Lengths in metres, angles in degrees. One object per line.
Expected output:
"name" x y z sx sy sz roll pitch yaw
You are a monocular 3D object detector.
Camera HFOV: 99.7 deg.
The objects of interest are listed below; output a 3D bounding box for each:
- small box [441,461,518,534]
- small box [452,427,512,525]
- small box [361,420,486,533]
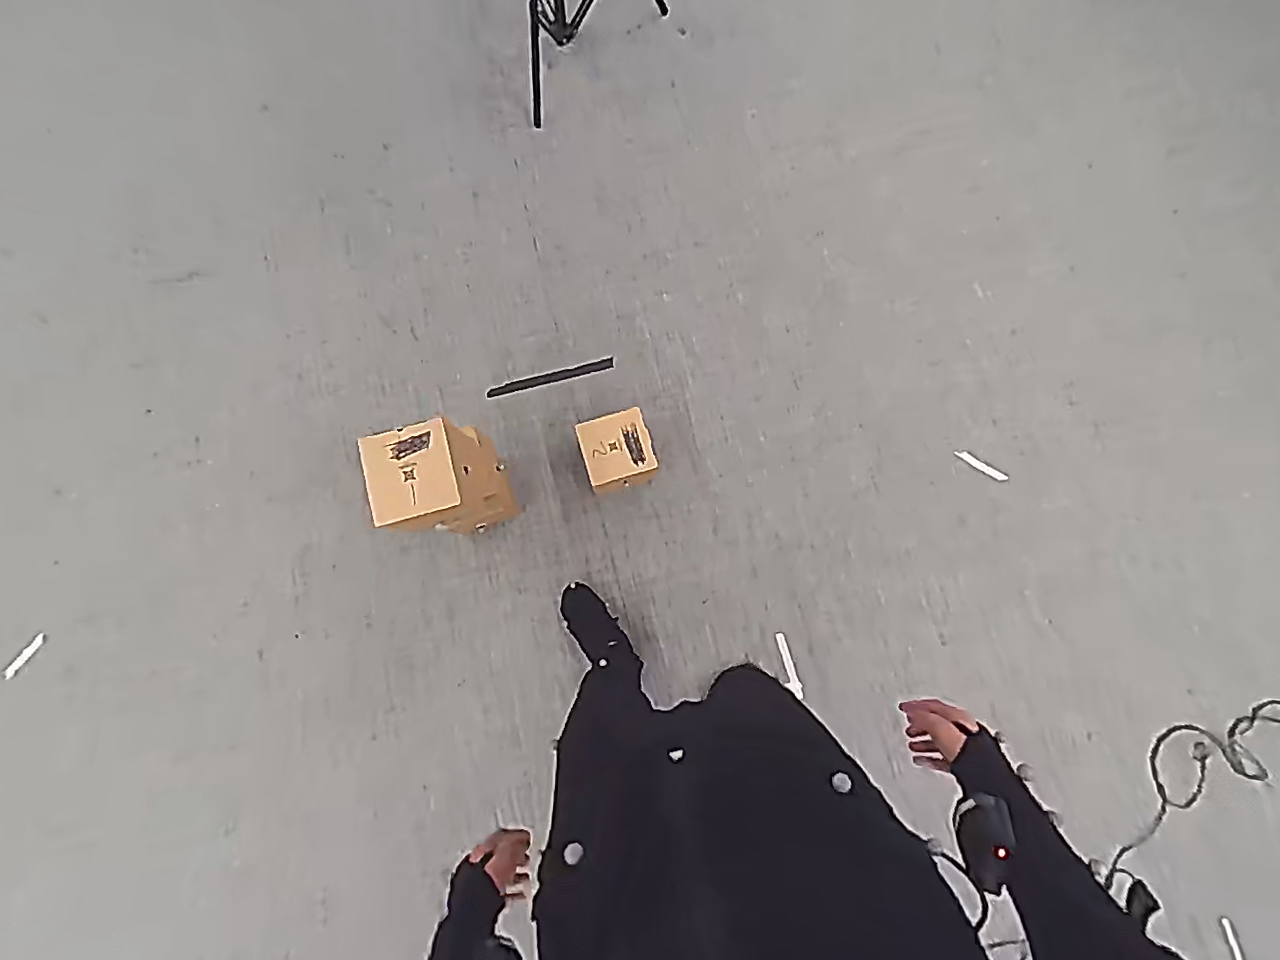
"small box" -0.431 0.033 1.408 0.168 0.176 0.179 -18 82 -3
"small box" -0.417 0.000 1.247 0.179 0.176 0.168 -19 81 -3
"small box" -0.424 0.000 1.081 0.168 0.176 0.179 -15 82 -2
